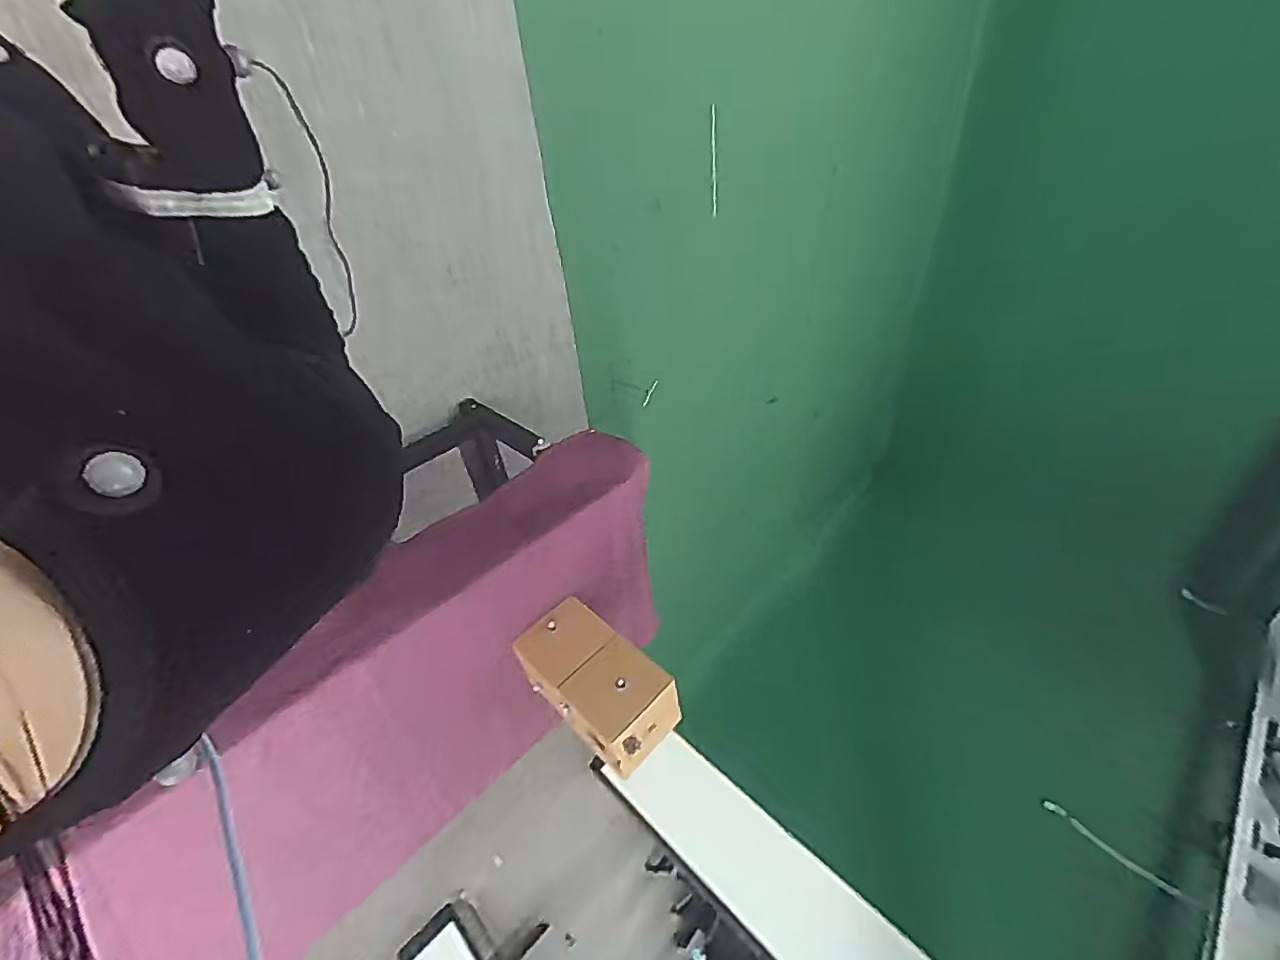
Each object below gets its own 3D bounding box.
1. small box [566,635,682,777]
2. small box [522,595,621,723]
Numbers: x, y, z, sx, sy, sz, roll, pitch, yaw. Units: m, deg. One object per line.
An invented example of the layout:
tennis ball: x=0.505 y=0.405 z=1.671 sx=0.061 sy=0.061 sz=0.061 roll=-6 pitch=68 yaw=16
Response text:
small box: x=-0.036 y=0.465 z=1.131 sx=0.179 sy=0.176 sz=0.168 roll=-37 pitch=136 yaw=-29
small box: x=-0.149 y=0.402 z=1.233 sx=0.179 sy=0.176 sz=0.168 roll=-36 pitch=136 yaw=-28
